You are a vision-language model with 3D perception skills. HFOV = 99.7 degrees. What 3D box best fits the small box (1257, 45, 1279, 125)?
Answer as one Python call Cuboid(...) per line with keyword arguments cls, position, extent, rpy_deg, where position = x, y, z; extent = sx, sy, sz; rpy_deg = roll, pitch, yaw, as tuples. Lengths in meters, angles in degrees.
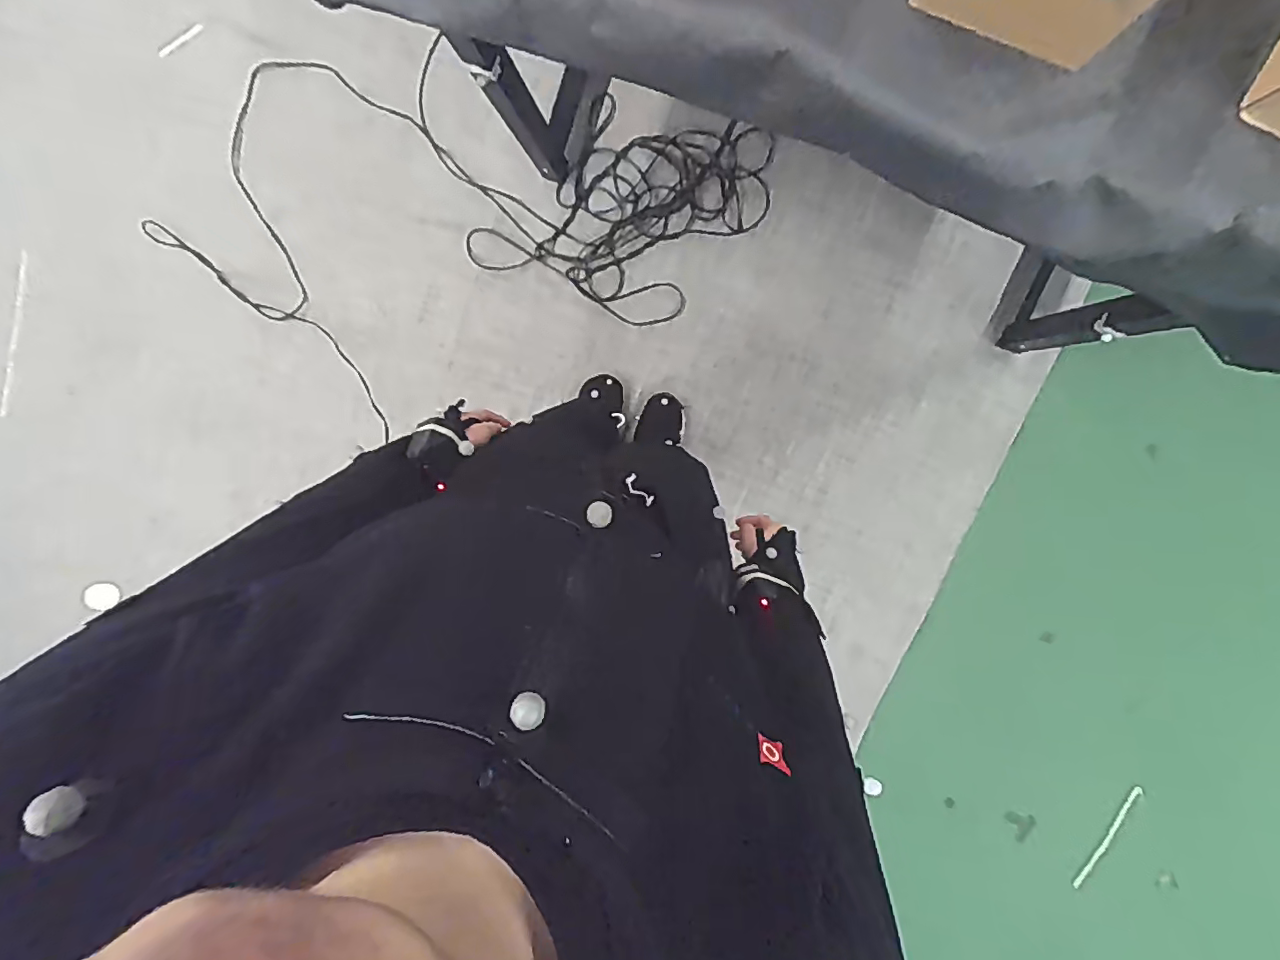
Cuboid(cls="small box", position=(0.665, -0.379, 0.412), extent=(0.168, 0.176, 0.179), rpy_deg=(25, 100, 2))
